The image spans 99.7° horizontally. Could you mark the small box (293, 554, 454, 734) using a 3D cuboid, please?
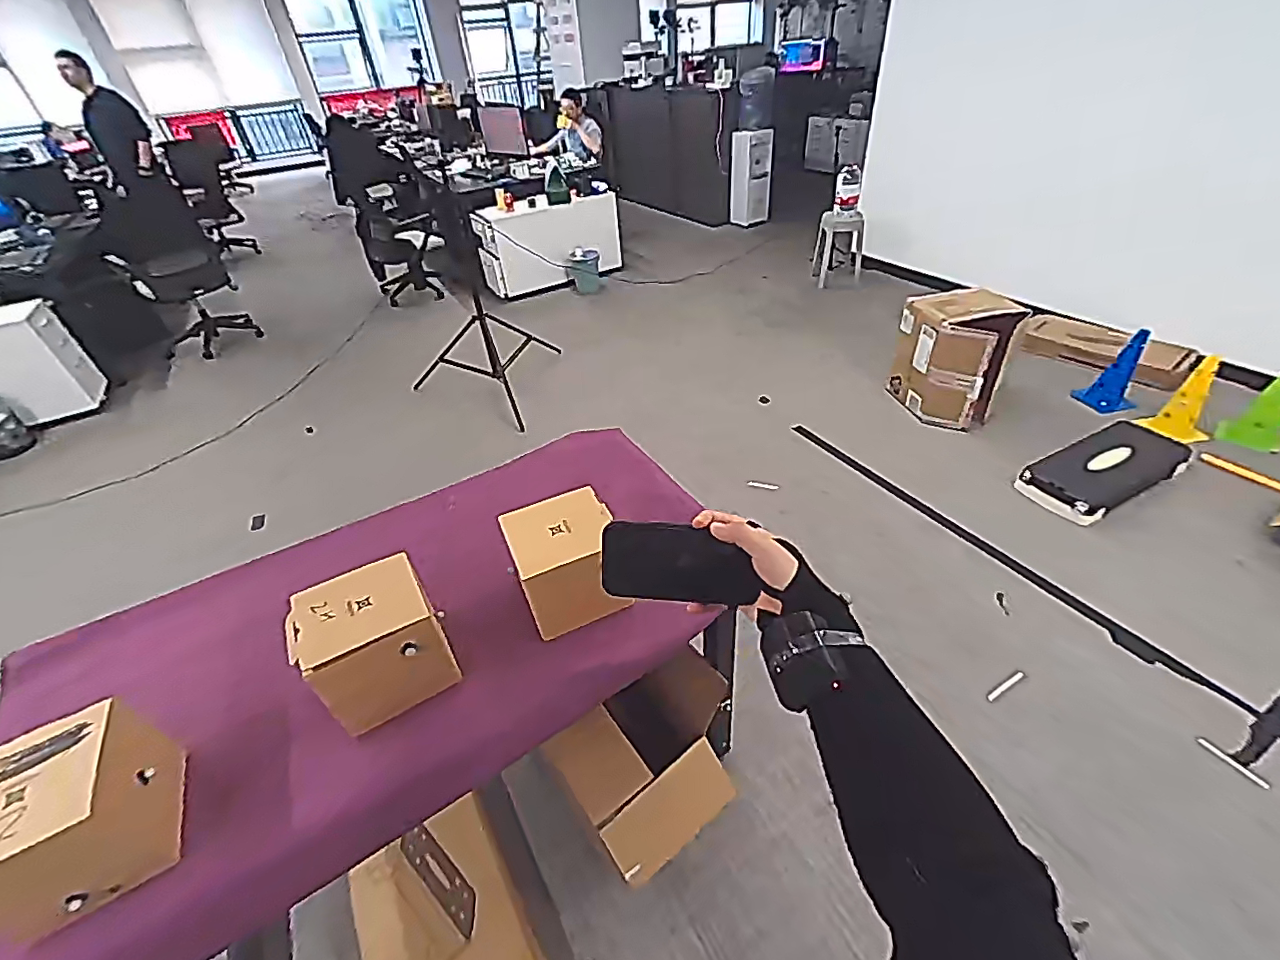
[{"bbox_3d":[-0.411,0.255,0.854,0.179,0.176,0.168,-25,40,-22],"label":"small box"}]

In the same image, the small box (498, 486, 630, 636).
[{"bbox_3d":[-0.131,0.144,0.958,0.179,0.176,0.168,-20,41,-17],"label":"small box"}]
